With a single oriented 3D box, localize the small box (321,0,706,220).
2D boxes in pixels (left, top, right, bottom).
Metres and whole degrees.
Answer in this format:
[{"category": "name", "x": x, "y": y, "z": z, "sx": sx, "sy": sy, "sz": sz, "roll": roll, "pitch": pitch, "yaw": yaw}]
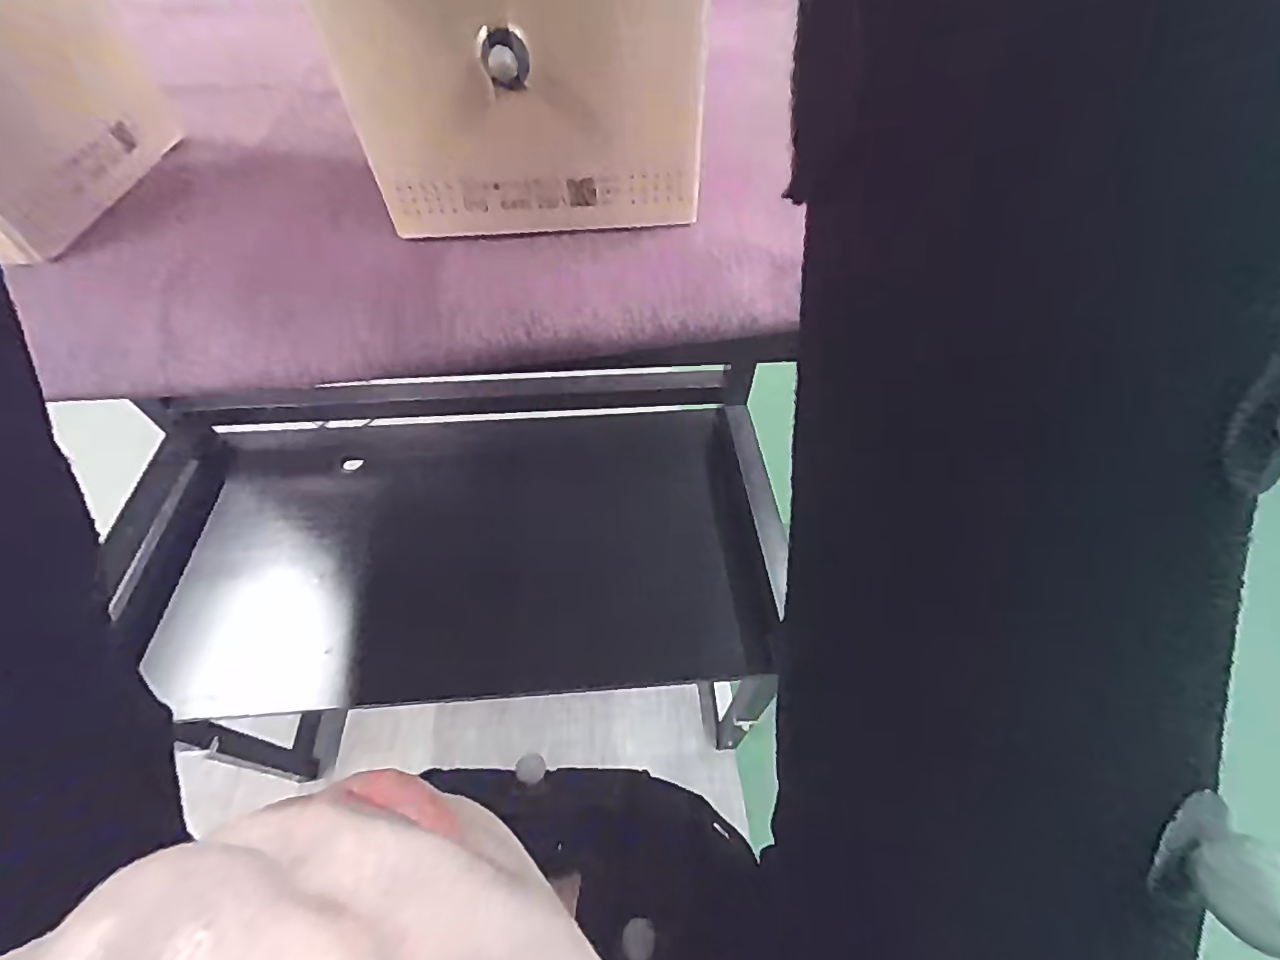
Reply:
[{"category": "small box", "x": -0.054, "y": -0.256, "z": 0.285, "sx": 0.168, "sy": 0.176, "sz": 0.179, "roll": -2, "pitch": 53, "yaw": -1}]
